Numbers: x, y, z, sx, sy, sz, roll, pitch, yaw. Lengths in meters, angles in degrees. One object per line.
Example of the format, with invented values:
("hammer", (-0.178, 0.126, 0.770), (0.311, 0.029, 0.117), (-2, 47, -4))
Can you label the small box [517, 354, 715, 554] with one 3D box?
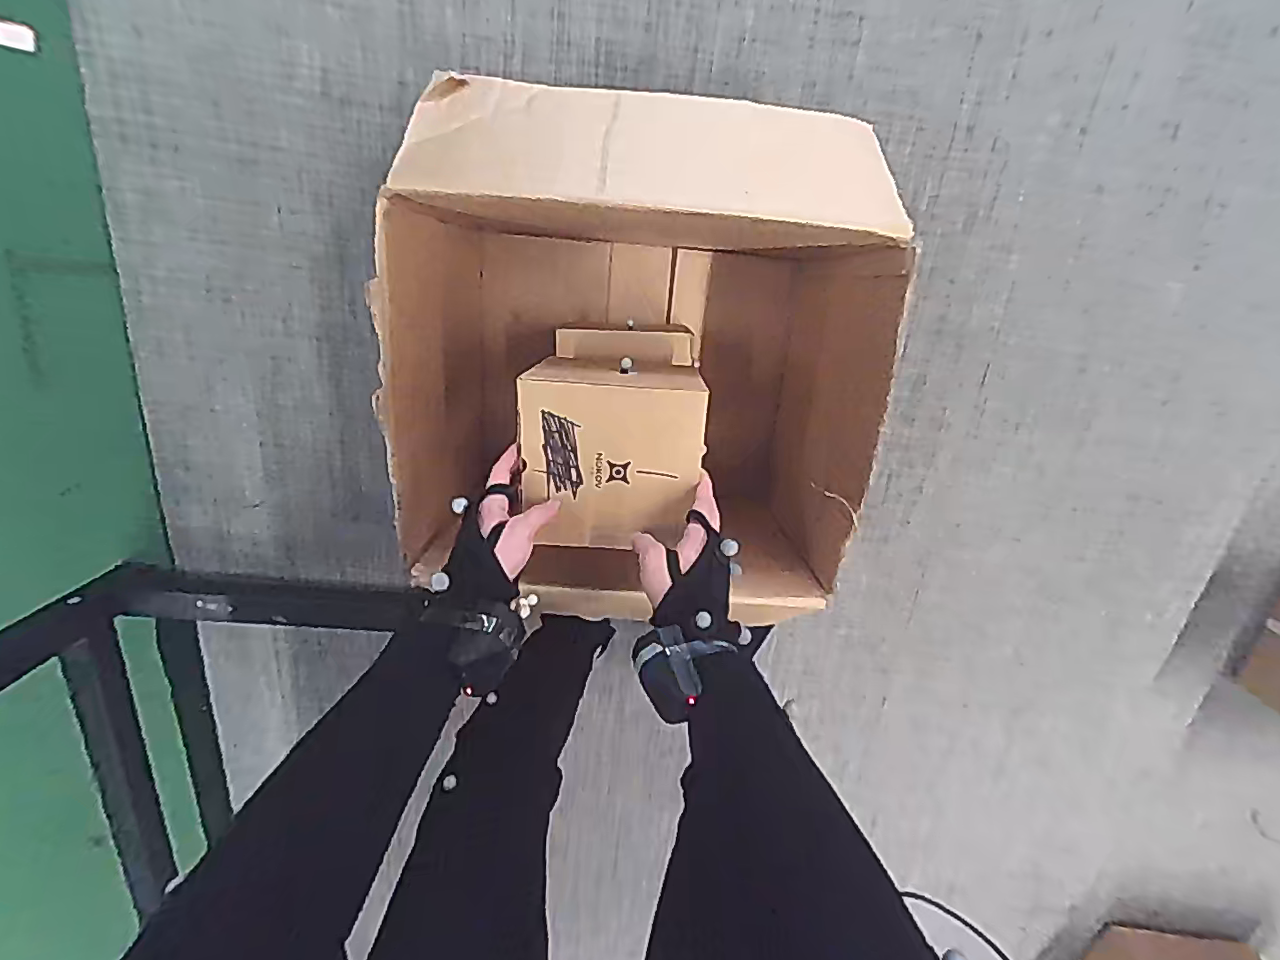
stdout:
("small box", (-0.025, -0.039, 0.589), (0.179, 0.176, 0.168), (7, 111, -1))
